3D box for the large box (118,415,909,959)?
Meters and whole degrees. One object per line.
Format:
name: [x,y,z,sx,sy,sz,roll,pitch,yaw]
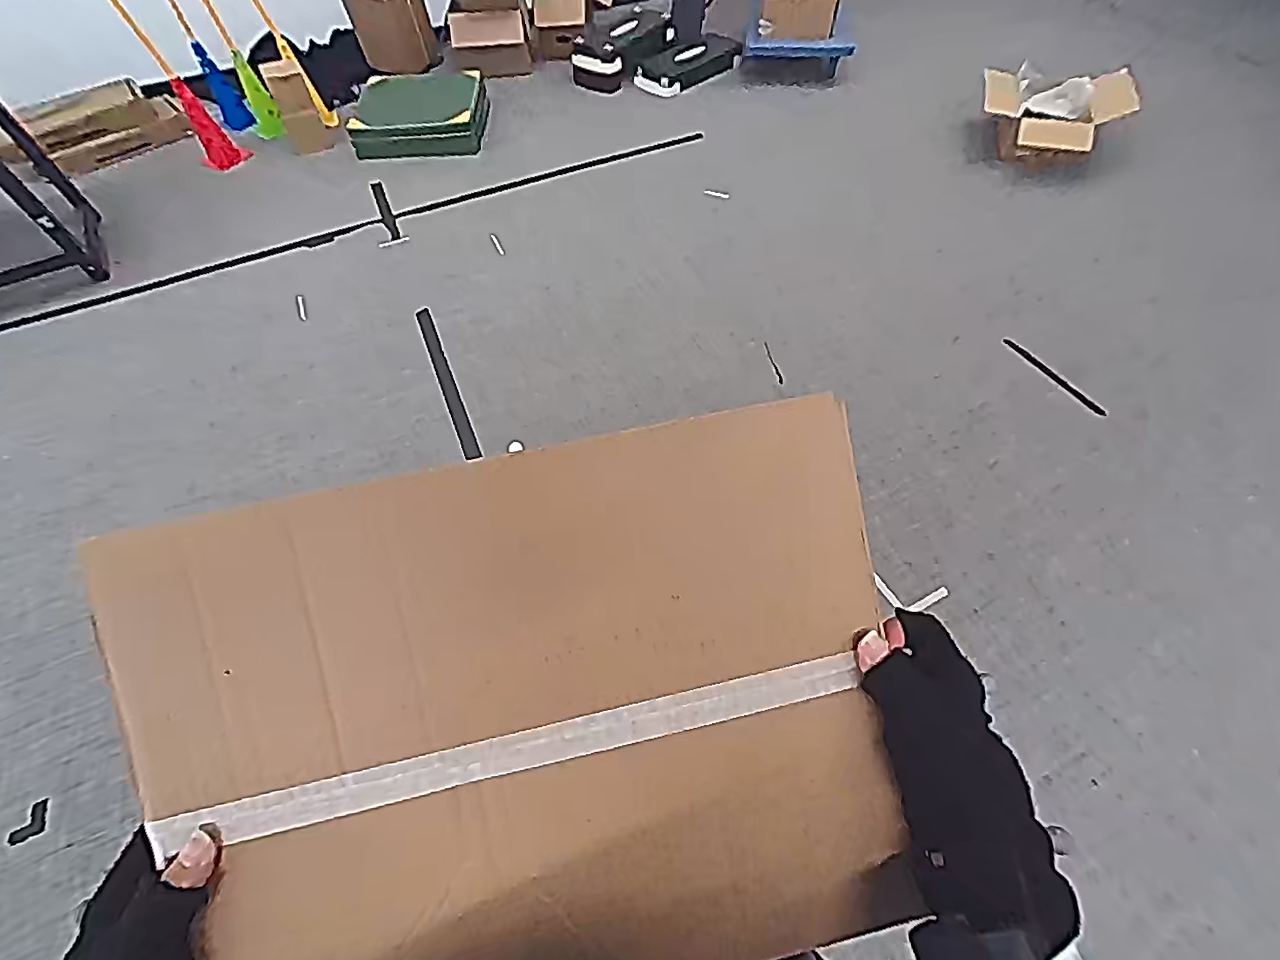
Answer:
large box: [-0.067,0.146,0.459,0.408,0.320,0.320,-12,92,-5]
